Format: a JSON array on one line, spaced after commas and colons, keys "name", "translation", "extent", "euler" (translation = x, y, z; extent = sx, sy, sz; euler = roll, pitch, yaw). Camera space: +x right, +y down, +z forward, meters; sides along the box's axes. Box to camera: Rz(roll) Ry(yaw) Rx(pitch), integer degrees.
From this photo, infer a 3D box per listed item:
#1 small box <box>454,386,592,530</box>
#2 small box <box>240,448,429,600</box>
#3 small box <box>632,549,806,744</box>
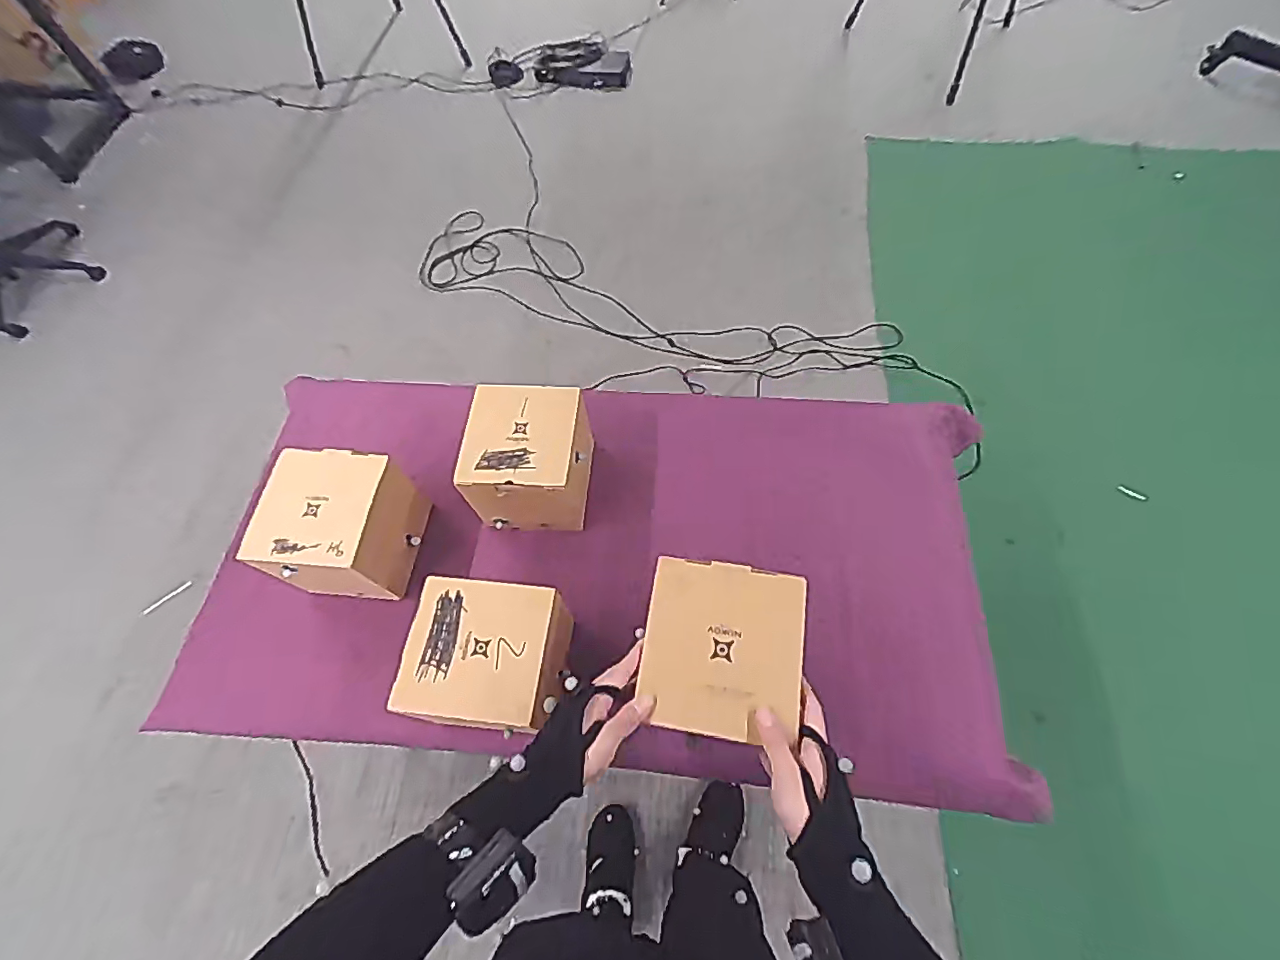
[{"name": "small box", "translation": [-0.175, -0.030, 0.873], "extent": [0.168, 0.176, 0.179], "euler": [3, 62, 4]}, {"name": "small box", "translation": [-0.449, 0.072, 0.832], "extent": [0.168, 0.176, 0.179], "euler": [3, 62, 6]}, {"name": "small box", "translation": [0.090, 0.201, 0.640], "extent": [0.168, 0.176, 0.179], "euler": [8, 65, 8]}]
